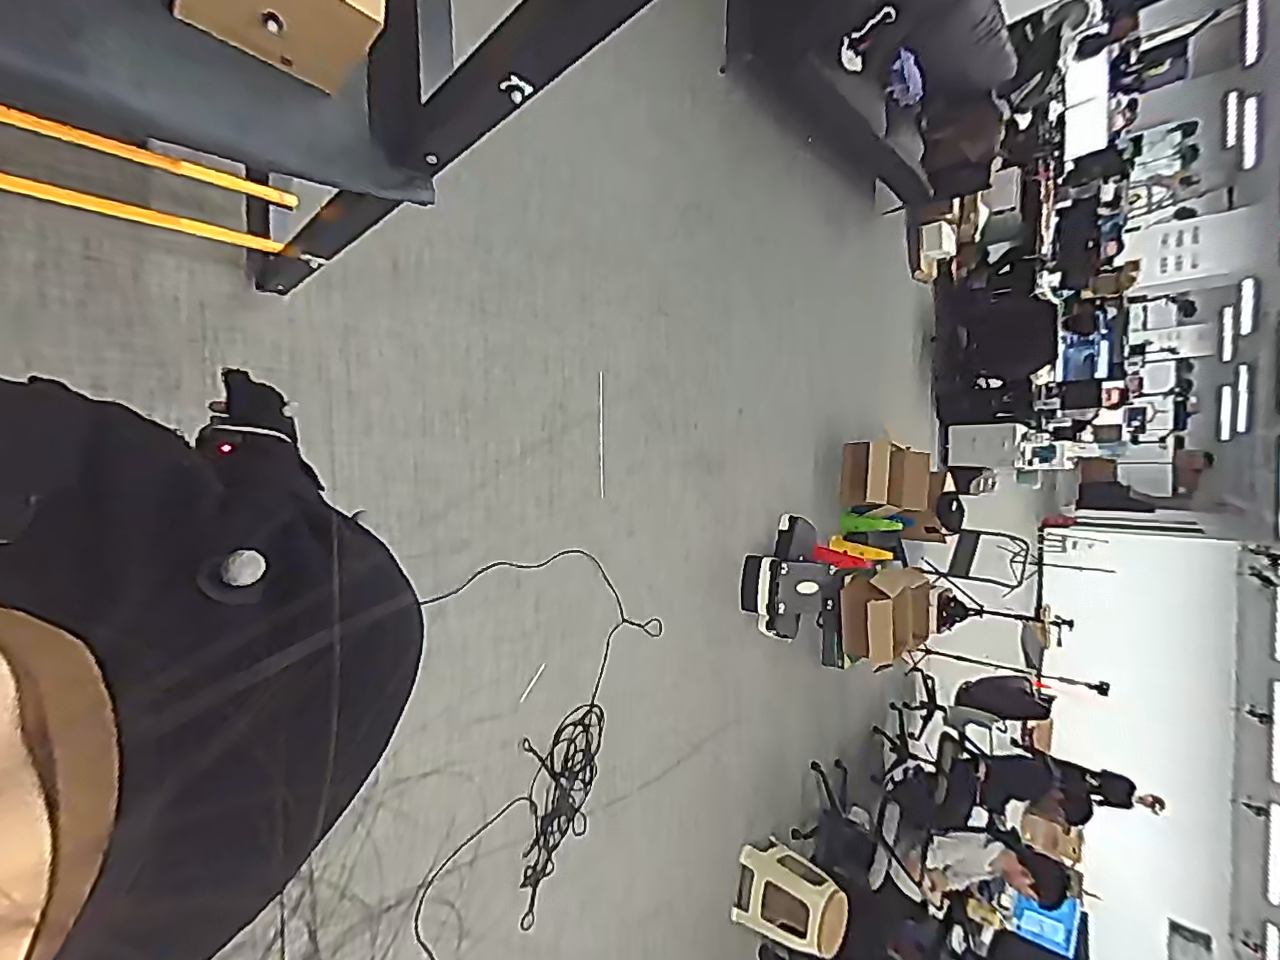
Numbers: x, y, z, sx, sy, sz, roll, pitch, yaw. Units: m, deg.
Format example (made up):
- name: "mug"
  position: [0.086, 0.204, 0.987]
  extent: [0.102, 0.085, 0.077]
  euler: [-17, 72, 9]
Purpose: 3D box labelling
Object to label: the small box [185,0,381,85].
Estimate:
- name: "small box"
  position: [-0.399, -0.596, 0.600]
  extent: [0.168, 0.176, 0.179]
  euler: [3, 88, -47]
